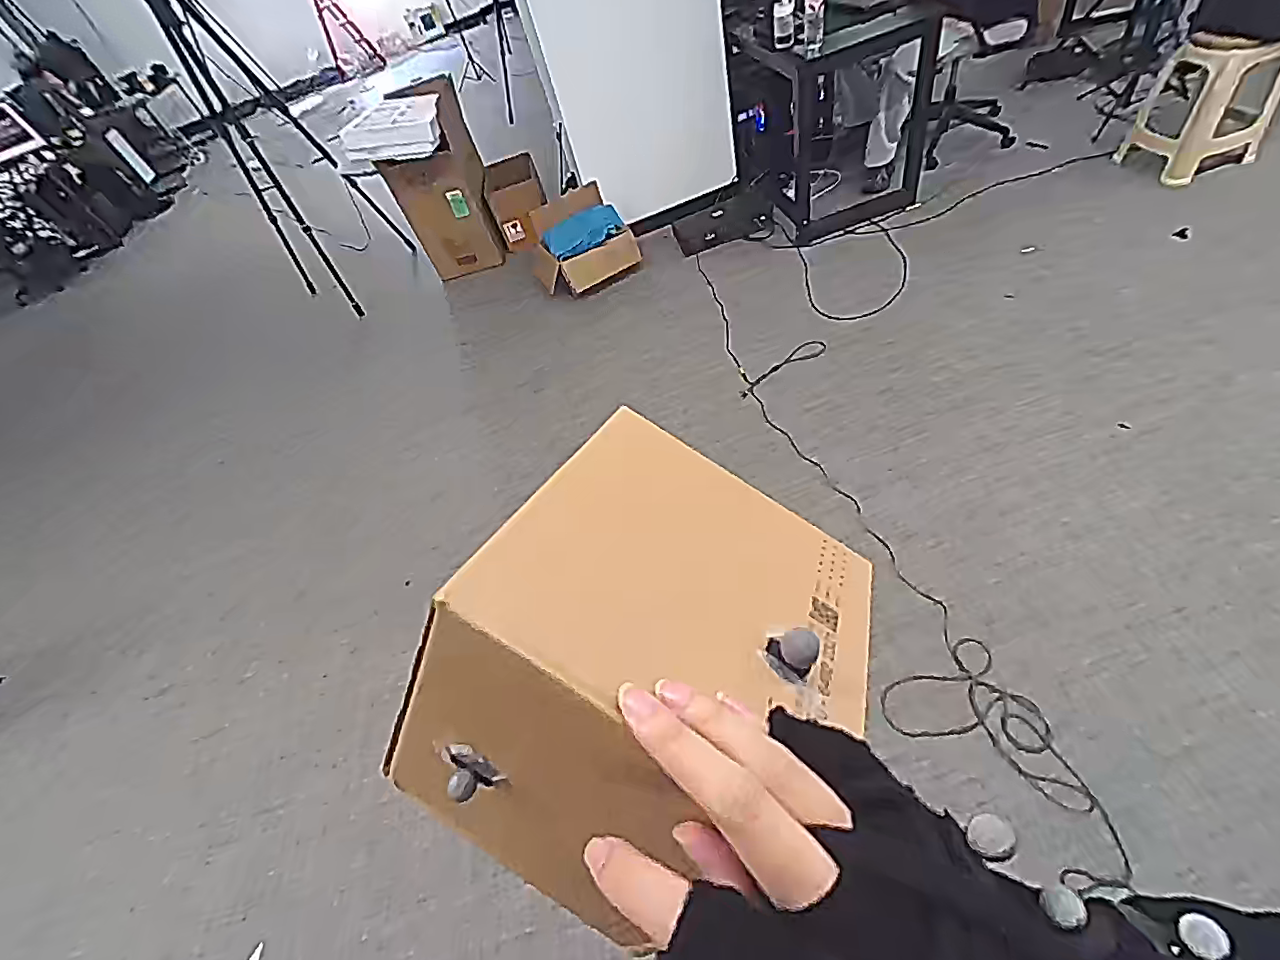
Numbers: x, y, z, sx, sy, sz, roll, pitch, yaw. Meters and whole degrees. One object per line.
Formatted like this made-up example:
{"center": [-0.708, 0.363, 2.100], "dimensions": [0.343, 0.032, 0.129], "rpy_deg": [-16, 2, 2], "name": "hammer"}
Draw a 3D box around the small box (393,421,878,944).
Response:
{"center": [-0.001, 0.107, 0.294], "dimensions": [0.176, 0.179, 0.168], "rpy_deg": [32, 38, 2], "name": "small box"}
